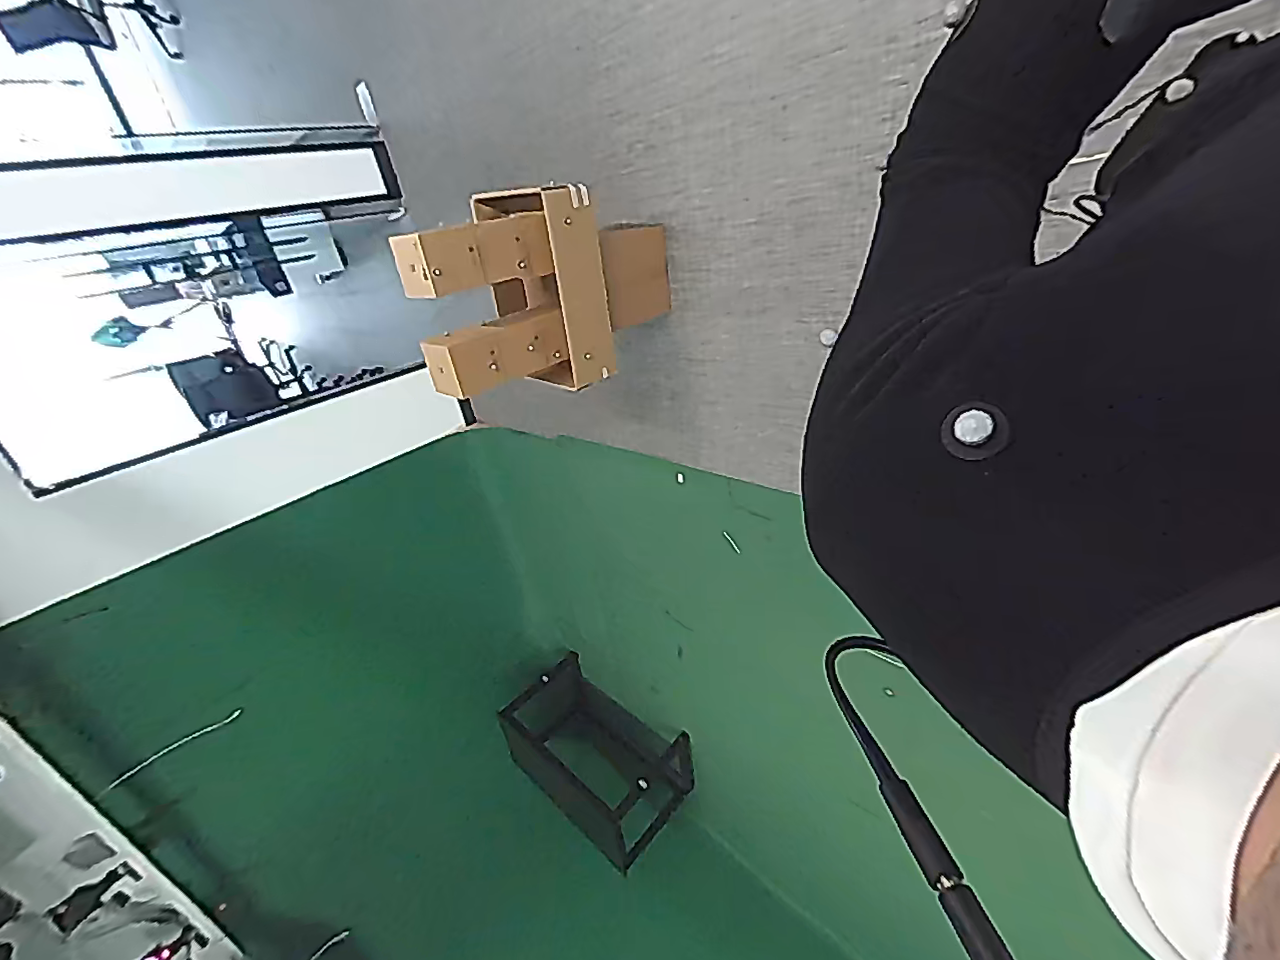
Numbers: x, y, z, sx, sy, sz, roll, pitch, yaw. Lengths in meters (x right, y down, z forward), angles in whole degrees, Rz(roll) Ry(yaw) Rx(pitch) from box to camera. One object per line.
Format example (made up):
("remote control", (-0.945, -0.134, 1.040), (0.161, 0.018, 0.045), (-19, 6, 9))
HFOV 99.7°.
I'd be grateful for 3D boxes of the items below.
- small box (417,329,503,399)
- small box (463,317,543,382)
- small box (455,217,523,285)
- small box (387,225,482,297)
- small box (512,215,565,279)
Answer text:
("small box", (-0.557, -0.367, 1.681), (0.179, 0.176, 0.168), (19, 129, 40))
("small box", (-0.448, -0.436, 1.782), (0.179, 0.176, 0.168), (18, 128, 40))
("small box", (-0.473, -0.692, 1.637), (0.179, 0.176, 0.168), (17, 126, 40))
("small box", (-0.579, -0.621, 1.533), (0.179, 0.176, 0.168), (17, 127, 40))
("small box", (-0.367, -0.755, 1.744), (0.179, 0.176, 0.168), (22, 129, 37))
